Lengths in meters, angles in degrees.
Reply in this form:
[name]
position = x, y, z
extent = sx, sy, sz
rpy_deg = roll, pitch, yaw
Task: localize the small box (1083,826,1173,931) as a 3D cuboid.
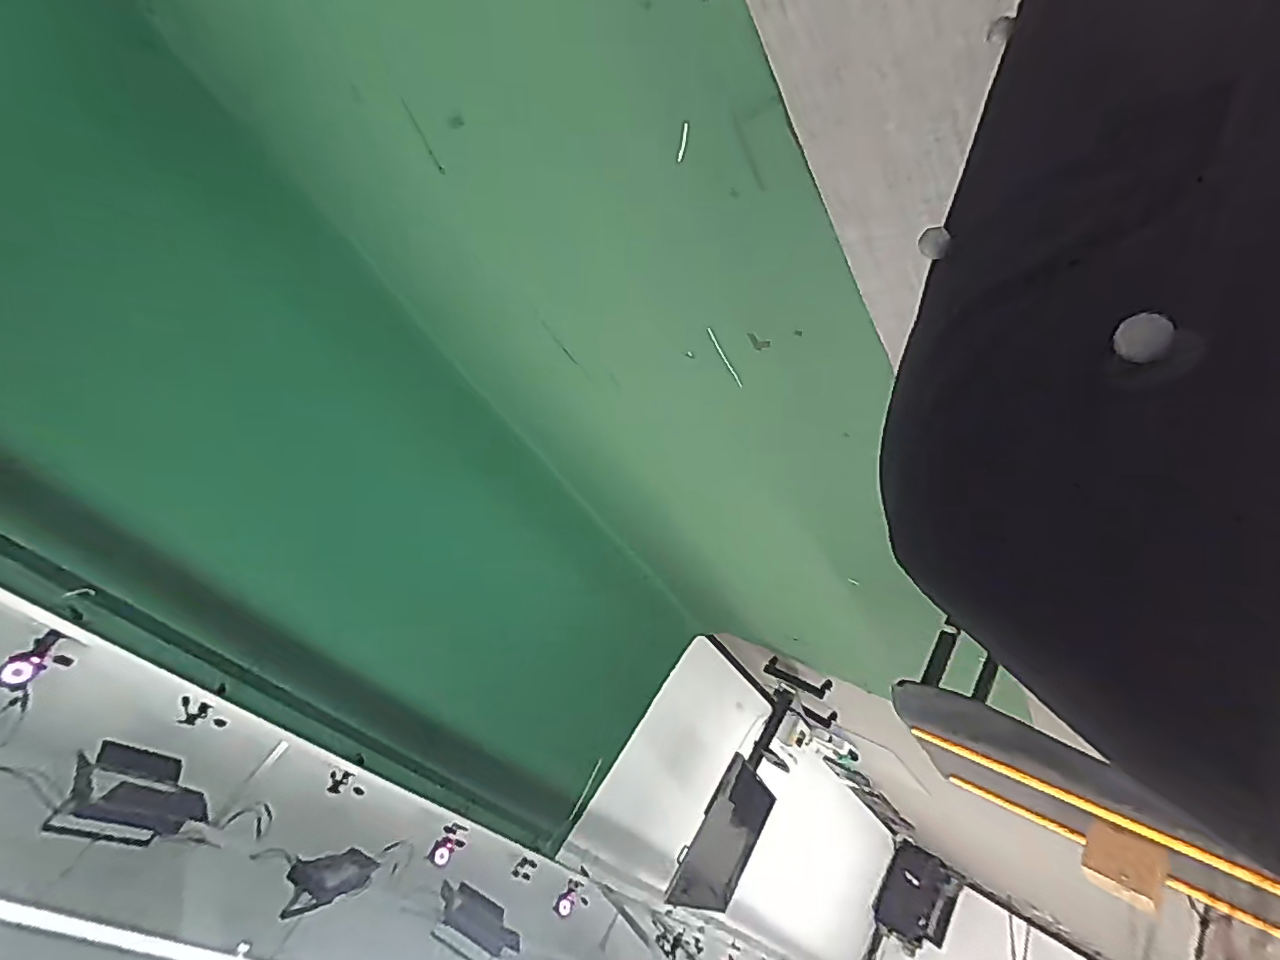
[small box]
position = 1.466, 1.188, 1.622
extent = 0.168, 0.176, 0.179
rpy_deg = 4, 141, 53
